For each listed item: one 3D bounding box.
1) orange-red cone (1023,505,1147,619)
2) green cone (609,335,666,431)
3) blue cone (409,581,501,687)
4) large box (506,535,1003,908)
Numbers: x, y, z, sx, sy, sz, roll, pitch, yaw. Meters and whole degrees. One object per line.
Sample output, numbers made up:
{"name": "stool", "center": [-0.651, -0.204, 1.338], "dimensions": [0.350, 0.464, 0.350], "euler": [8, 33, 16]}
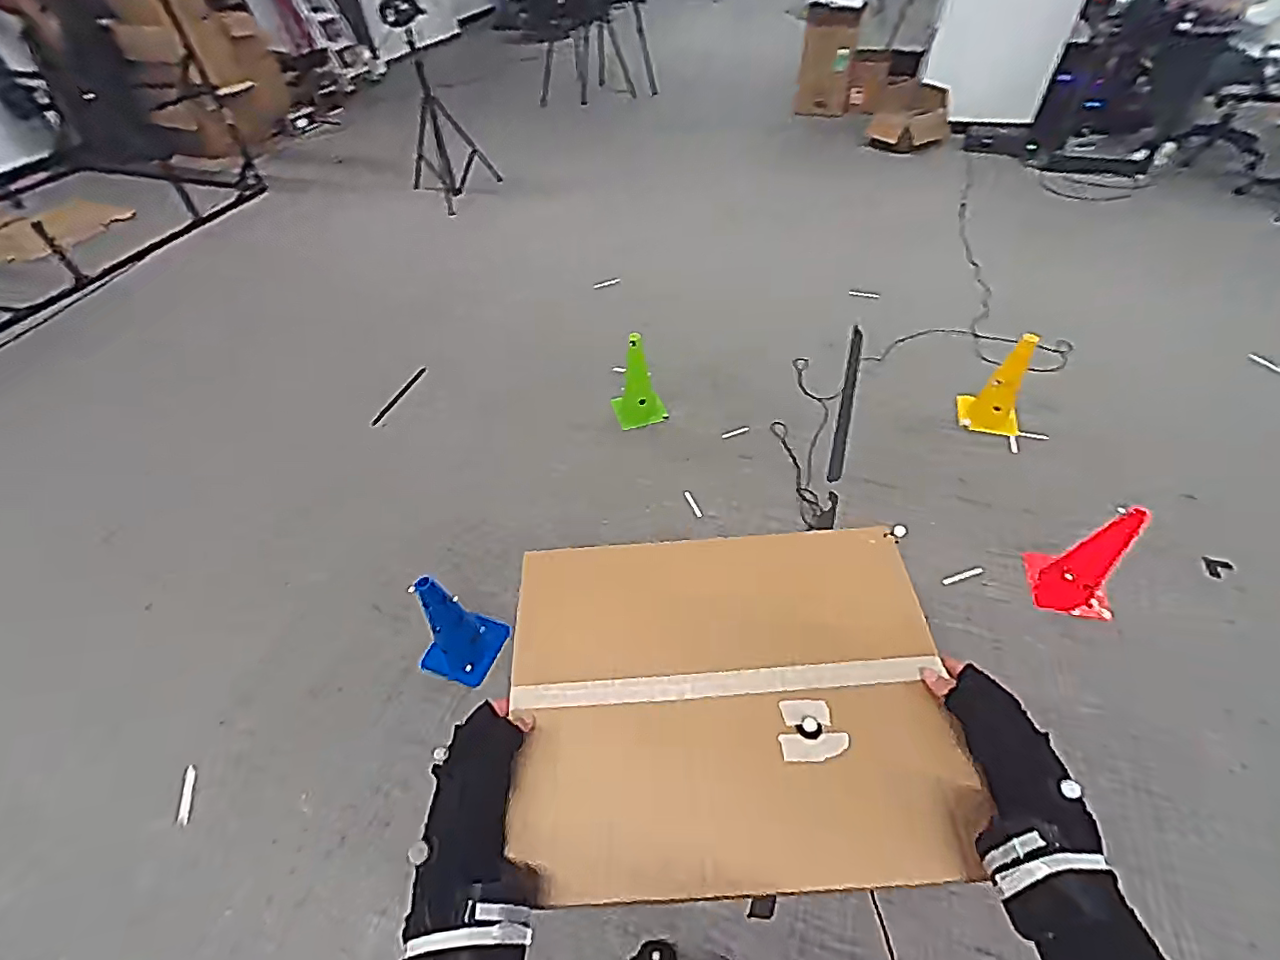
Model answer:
{"name": "orange-red cone", "center": [1.251, 0.193, 1.479], "dimensions": [0.198, 0.360, 0.199], "euler": [11, 49, 12]}
{"name": "green cone", "center": [-0.026, -0.401, 2.097], "dimensions": [0.202, 0.368, 0.200], "euler": [-17, 49, -9]}
{"name": "blue cone", "center": [-0.528, 0.387, 1.458], "dimensions": [0.192, 0.380, 0.193], "euler": [14, 51, 17]}
{"name": "large box", "center": [0.088, 0.287, 0.631], "dimensions": [0.408, 0.320, 0.320], "euler": [-4, 53, 1]}
